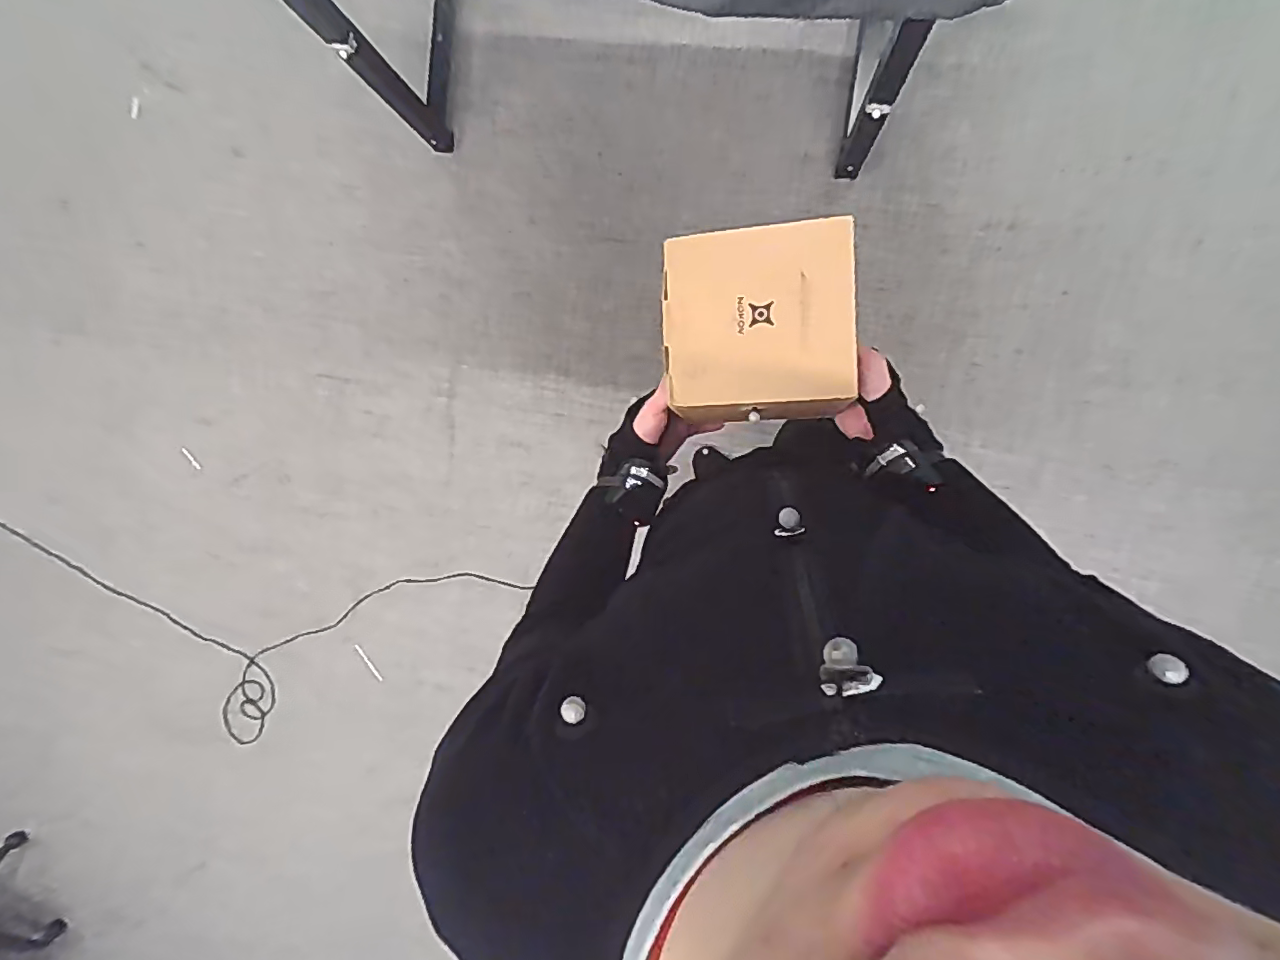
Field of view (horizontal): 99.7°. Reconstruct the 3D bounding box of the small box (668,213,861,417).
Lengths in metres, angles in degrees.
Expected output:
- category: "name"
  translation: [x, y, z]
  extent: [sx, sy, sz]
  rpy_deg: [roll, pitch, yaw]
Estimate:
- category: "small box"
  translation: [0.131, -0.159, 0.582]
  extent: [0.179, 0.176, 0.168]
  rpy_deg: [-1, 91, 12]
